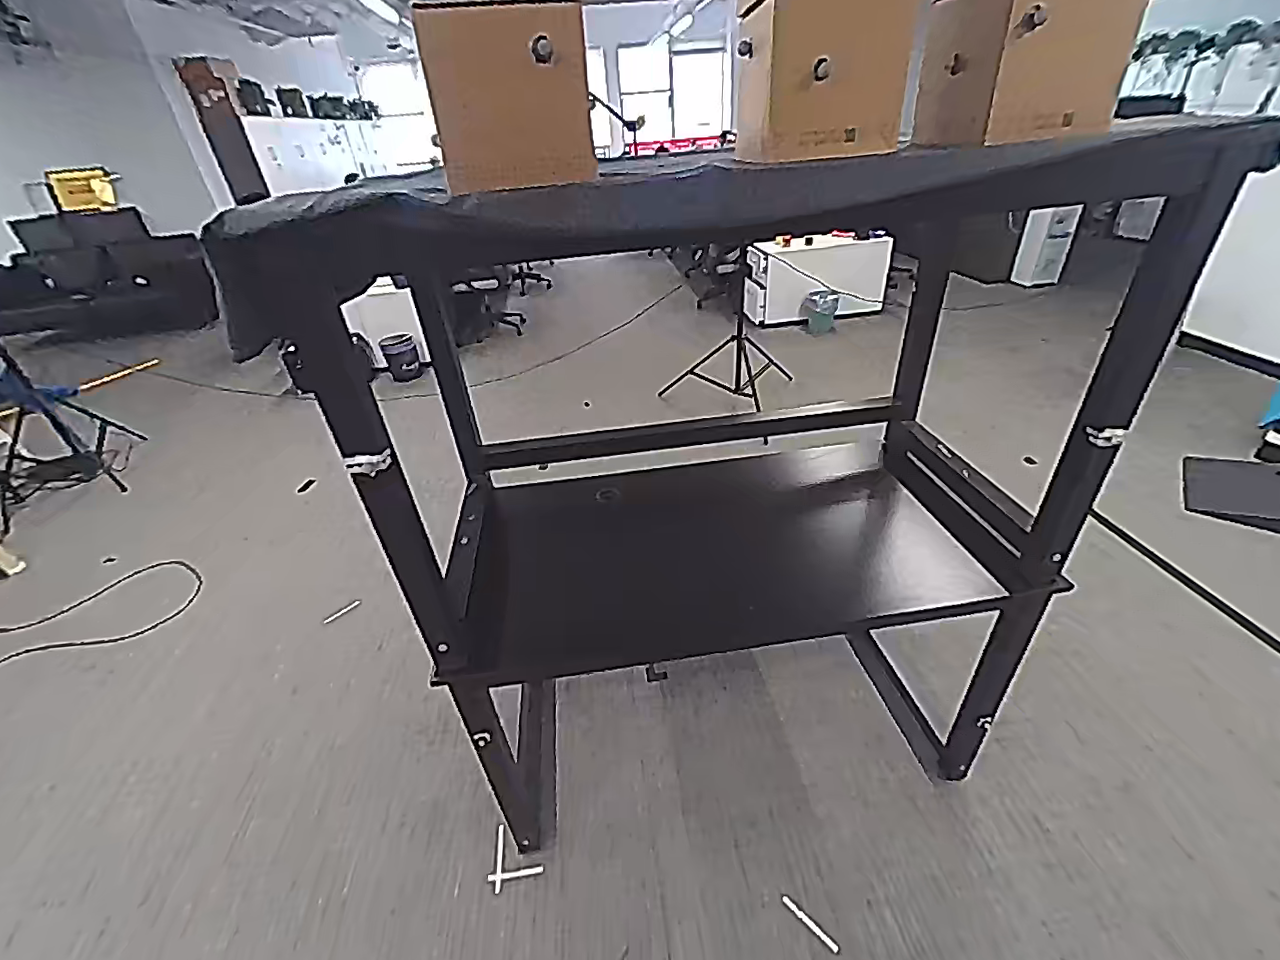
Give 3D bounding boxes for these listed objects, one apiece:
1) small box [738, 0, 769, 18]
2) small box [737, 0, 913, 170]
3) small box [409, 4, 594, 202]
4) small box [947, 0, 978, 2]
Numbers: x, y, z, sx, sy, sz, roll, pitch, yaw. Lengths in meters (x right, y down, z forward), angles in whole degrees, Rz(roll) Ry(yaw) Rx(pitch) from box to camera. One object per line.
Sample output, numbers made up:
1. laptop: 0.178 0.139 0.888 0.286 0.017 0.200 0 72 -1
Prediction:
1. small box: 0.210 -0.637 0.600 0.179 0.176 0.168 -7 31 0
2. small box: 0.224 -0.504 0.695 0.168 0.176 0.179 -6 32 -1
3. small box: -0.153 -0.443 0.651 0.179 0.176 0.168 -10 32 -7
4. small box: 0.470 -0.663 0.603 0.179 0.176 0.168 -8 31 -2
